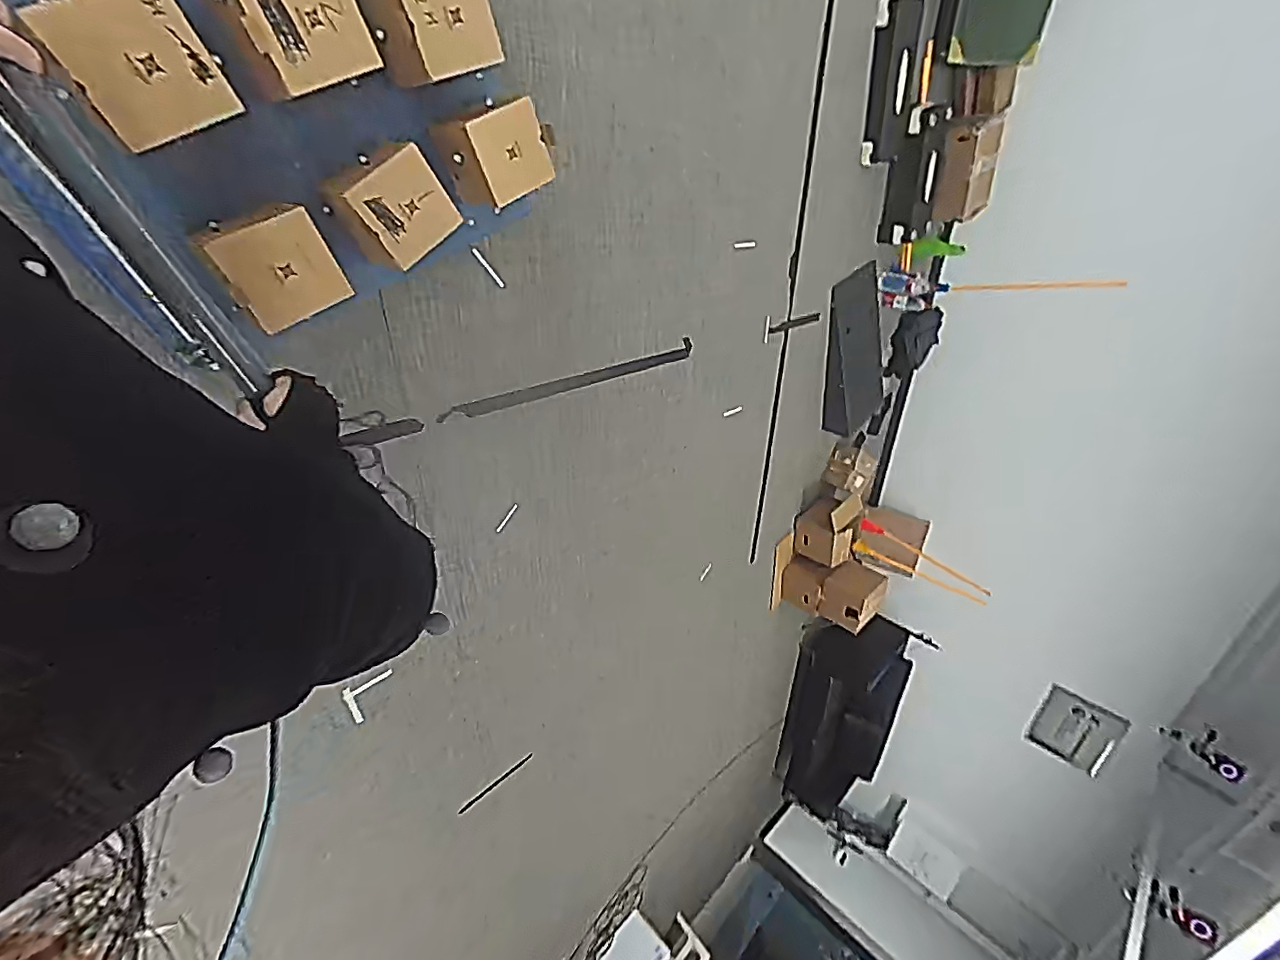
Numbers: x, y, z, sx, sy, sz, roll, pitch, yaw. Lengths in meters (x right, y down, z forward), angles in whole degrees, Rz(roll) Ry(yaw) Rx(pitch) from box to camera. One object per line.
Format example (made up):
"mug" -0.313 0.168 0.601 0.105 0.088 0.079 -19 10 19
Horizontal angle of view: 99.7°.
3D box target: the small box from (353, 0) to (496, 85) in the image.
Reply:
"small box" -0.415 -0.881 1.039 0.179 0.176 0.168 -39 137 -26

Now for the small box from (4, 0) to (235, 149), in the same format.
"small box" -0.760 -0.610 0.801 0.179 0.176 0.168 -44 139 -23

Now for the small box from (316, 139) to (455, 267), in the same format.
"small box" -0.524 -0.563 1.104 0.179 0.176 0.168 -51 141 -17

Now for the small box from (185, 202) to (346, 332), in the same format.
"small box" -0.696 -0.400 1.003 0.179 0.176 0.168 -41 138 -27

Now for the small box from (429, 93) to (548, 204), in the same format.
"small box" -0.344 -0.738 1.211 0.179 0.176 0.168 -44 138 -23
